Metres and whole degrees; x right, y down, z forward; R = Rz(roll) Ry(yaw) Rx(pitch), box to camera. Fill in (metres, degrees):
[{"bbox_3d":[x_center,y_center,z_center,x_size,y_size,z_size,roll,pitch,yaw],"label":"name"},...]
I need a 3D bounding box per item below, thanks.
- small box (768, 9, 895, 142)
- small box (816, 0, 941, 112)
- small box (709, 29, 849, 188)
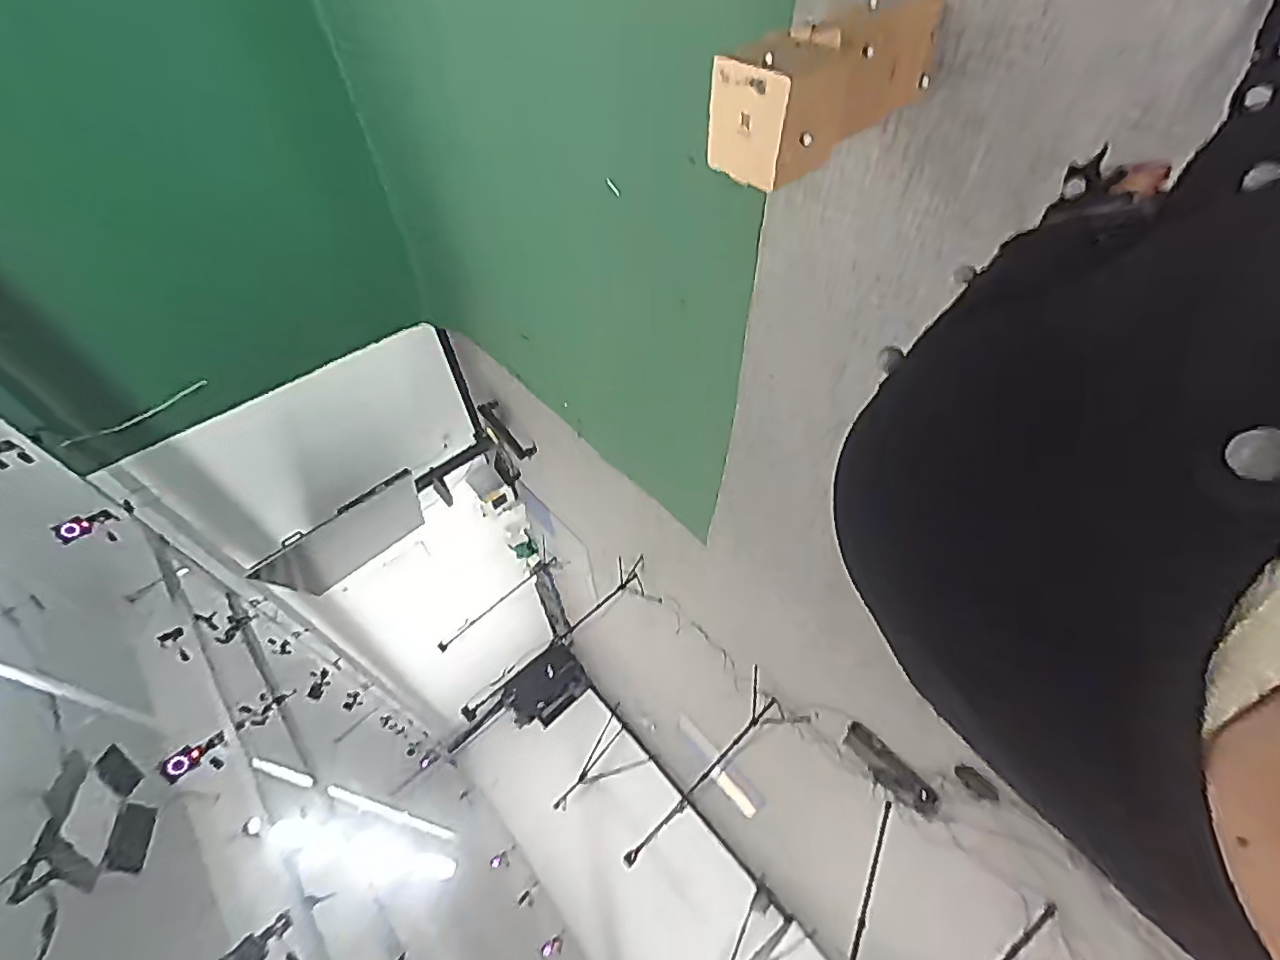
[{"bbox_3d":[0.358,-0.770,1.029,0.168,0.176,0.179,35,151,39],"label":"small box"},{"bbox_3d":[0.471,-0.866,1.095,0.179,0.176,0.168,36,150,36],"label":"small box"},{"bbox_3d":[0.244,-0.665,0.967,0.168,0.176,0.179,41,154,27],"label":"small box"}]
